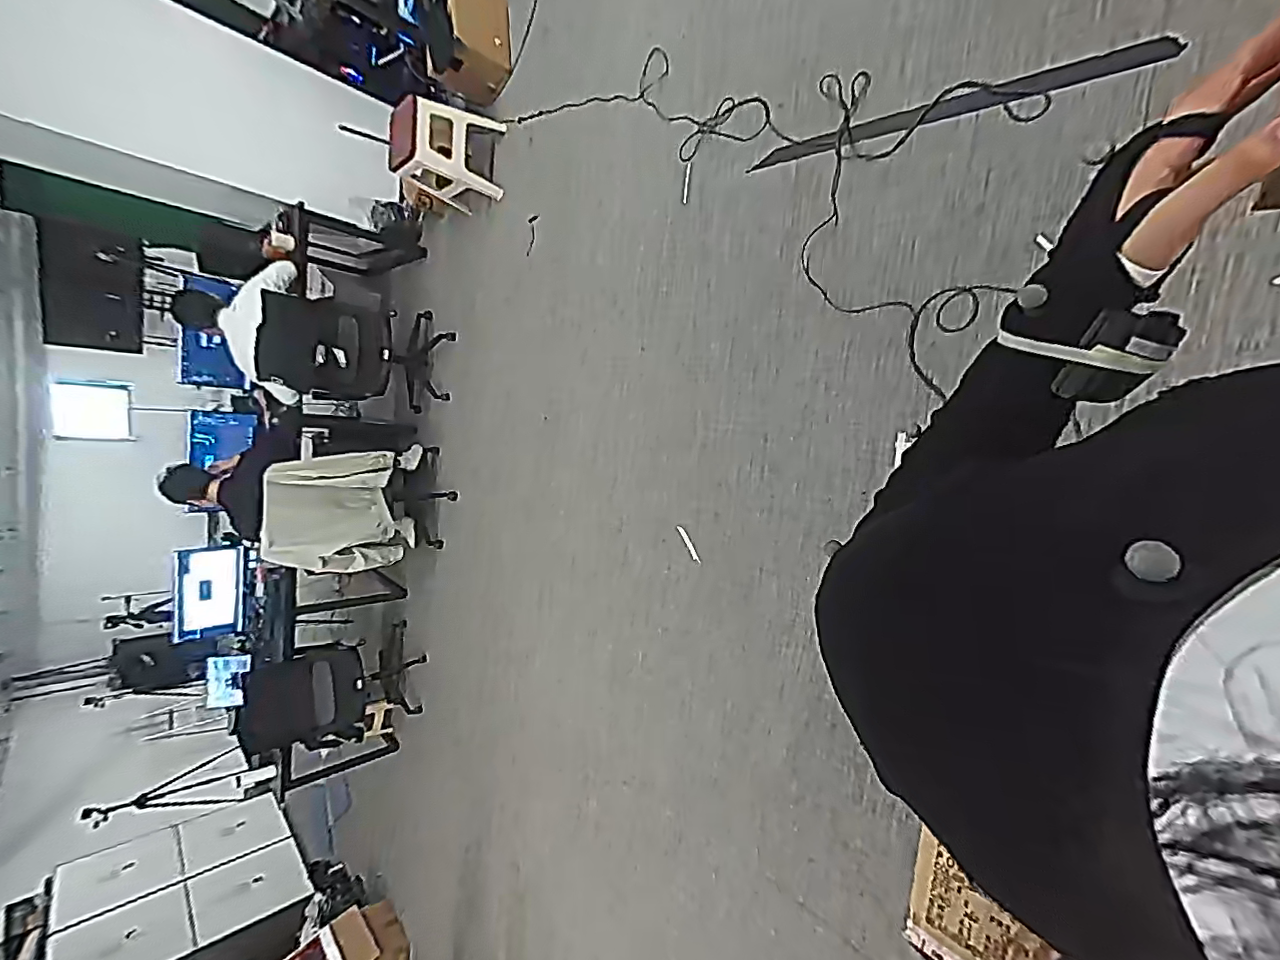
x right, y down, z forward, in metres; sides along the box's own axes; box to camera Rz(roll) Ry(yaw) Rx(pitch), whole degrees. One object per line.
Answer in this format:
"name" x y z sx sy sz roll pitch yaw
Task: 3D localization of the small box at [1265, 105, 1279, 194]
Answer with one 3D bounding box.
"small box" 0.423 -0.245 0.236 0.168 0.176 0.179 13 106 42
